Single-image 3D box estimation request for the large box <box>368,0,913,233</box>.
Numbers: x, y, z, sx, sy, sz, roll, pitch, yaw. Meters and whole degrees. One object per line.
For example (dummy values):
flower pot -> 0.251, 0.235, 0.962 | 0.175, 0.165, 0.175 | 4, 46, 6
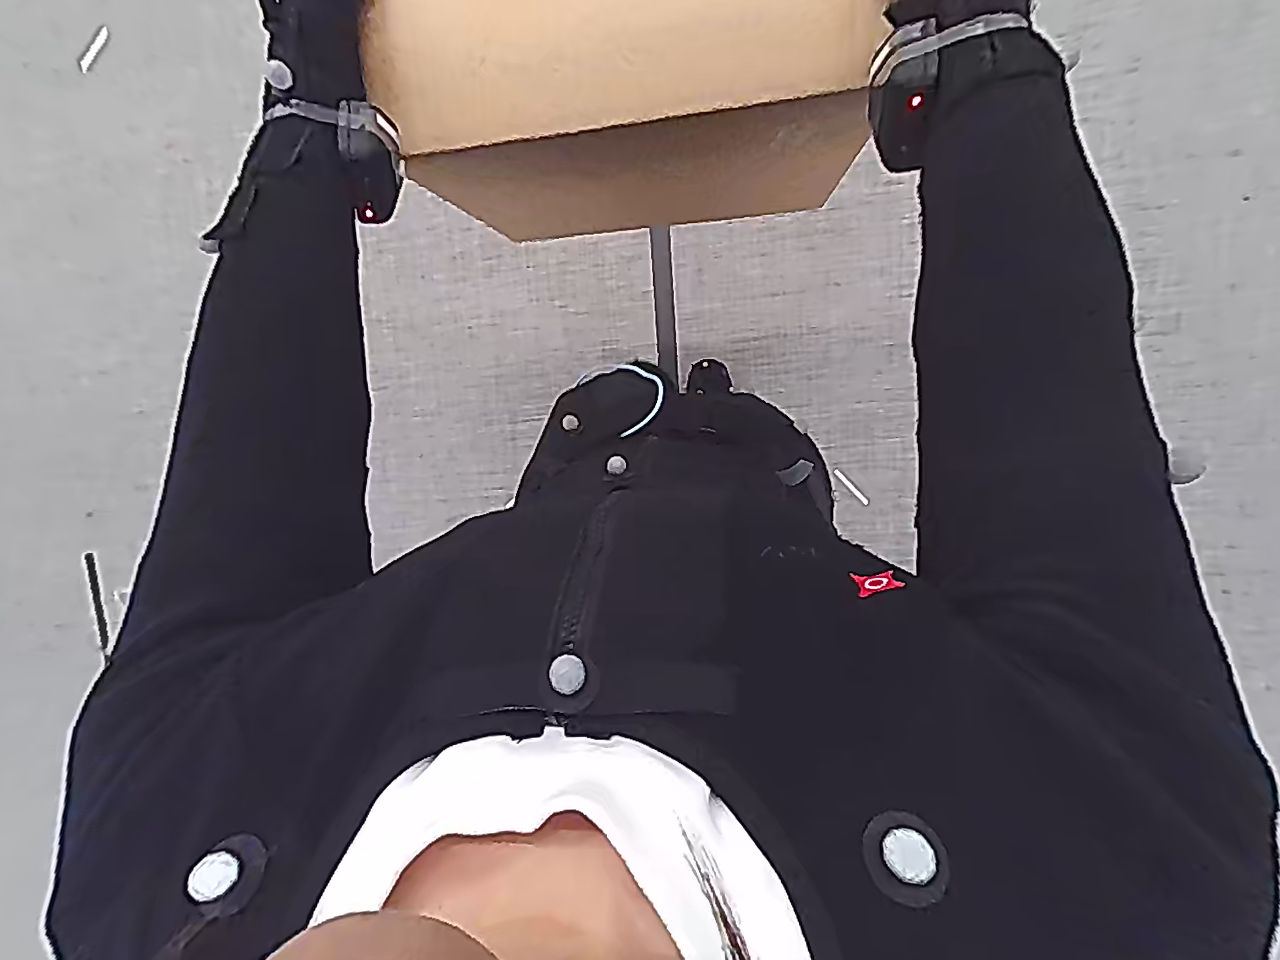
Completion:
large box -> -0.001, -0.460, 0.524 | 0.408, 0.320, 0.320 | -4, 102, 8
